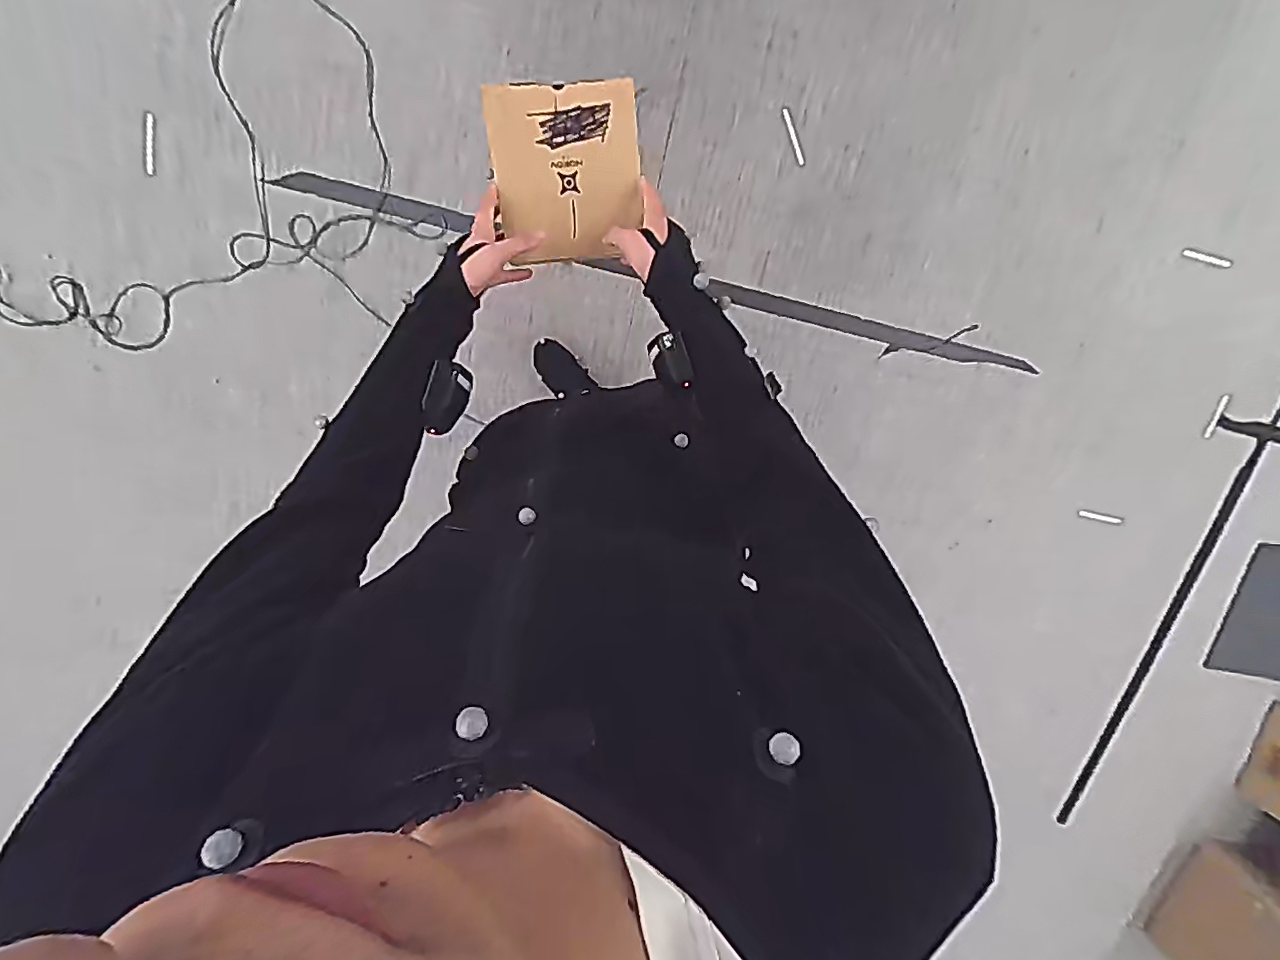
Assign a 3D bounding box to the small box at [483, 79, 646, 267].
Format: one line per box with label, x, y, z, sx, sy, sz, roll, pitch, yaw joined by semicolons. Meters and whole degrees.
small box;-0.094;-0.368;0.675;0.168;0.176;0.179;-9;112;-8
